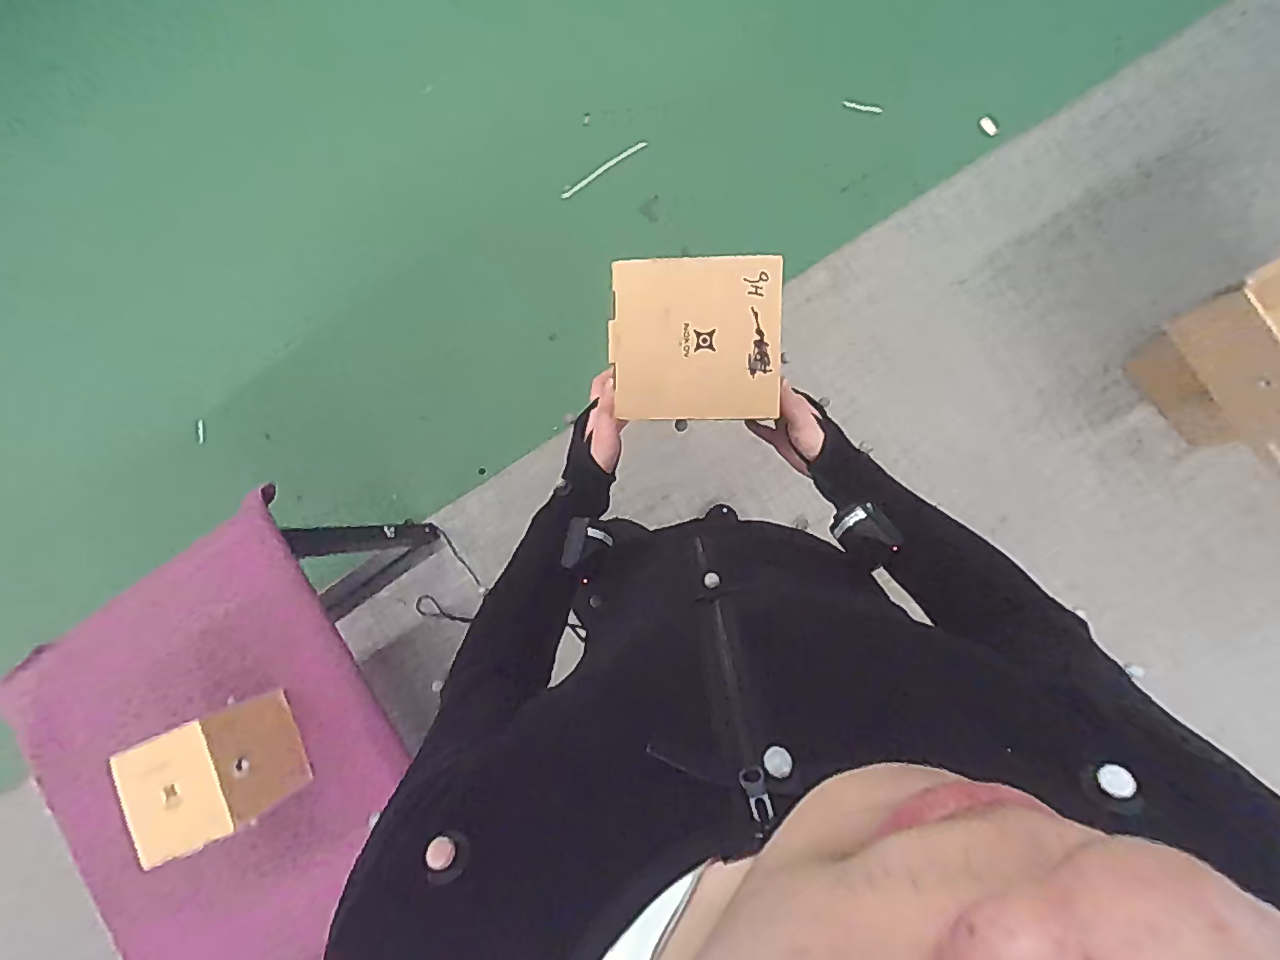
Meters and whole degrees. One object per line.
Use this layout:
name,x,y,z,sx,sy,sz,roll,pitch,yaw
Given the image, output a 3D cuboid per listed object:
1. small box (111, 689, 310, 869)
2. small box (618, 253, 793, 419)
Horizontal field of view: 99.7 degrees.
small box,-0.686,0.475,0.884,0.168,0.176,0.179,-24,85,4
small box,0.073,-0.157,0.634,0.179,0.176,0.168,2,97,5
